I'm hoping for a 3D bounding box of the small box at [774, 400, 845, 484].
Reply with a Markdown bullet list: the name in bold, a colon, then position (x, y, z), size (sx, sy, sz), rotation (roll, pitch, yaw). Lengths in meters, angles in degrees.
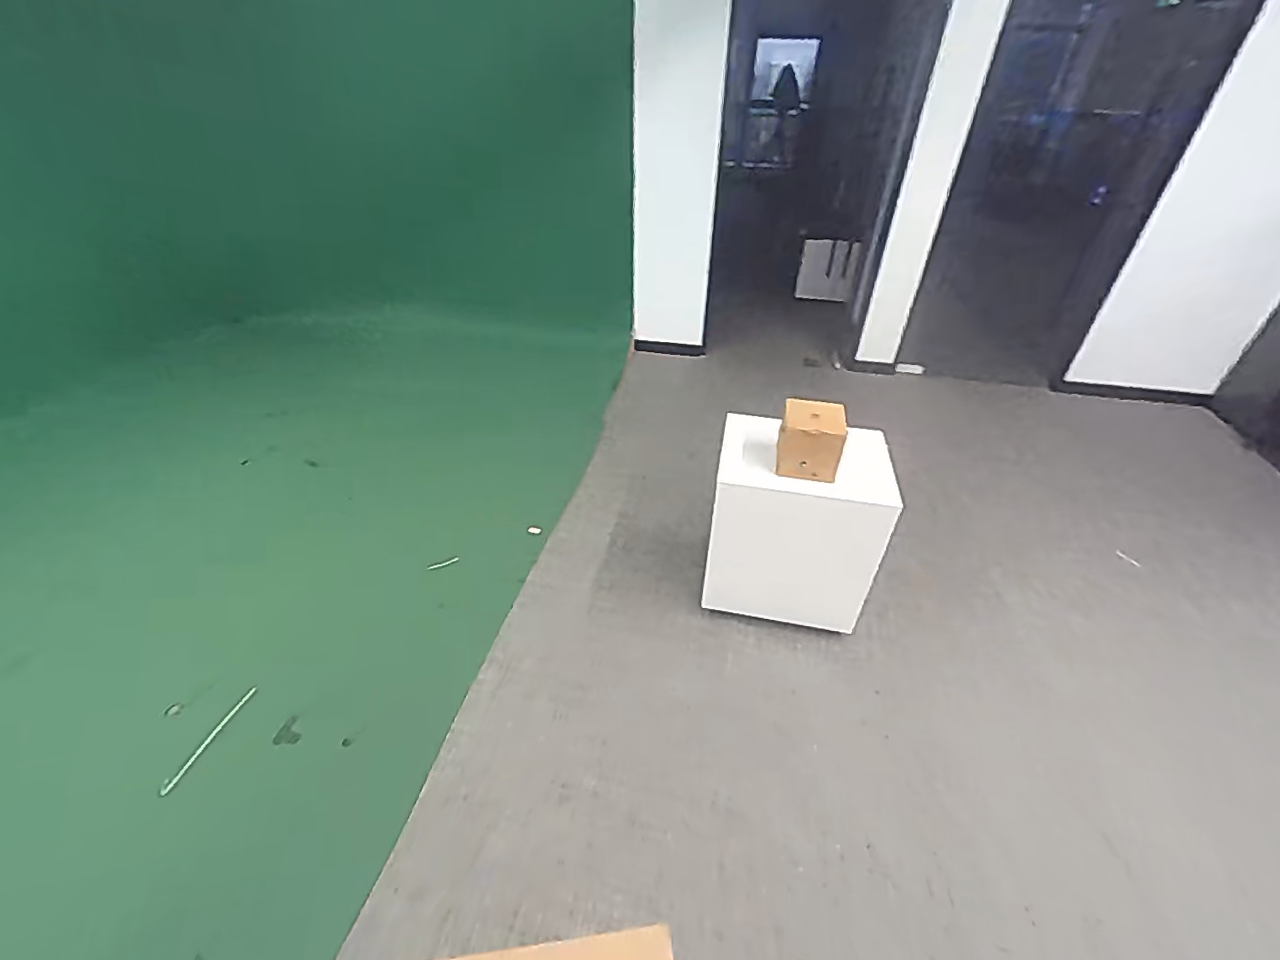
- **small box**: position (0.485, -0.113, 1.572), size (0.168, 0.176, 0.179), rotation (8, 37, 9)
